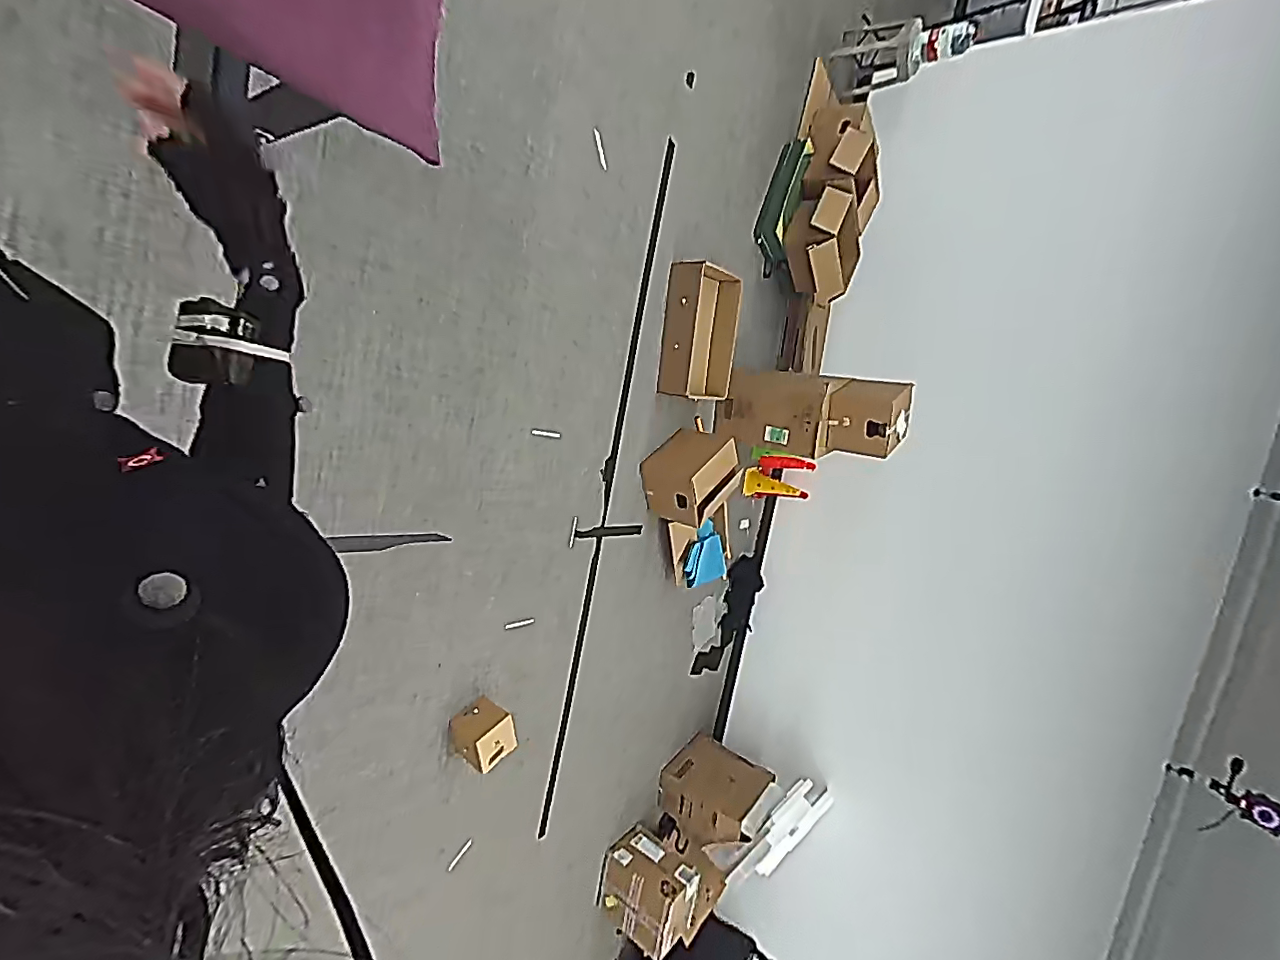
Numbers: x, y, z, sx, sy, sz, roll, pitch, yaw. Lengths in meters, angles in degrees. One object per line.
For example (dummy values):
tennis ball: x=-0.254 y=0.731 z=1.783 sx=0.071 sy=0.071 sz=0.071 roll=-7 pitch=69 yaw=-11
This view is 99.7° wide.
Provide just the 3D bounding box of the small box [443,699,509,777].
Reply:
small box: x=-0.631 y=0.987 z=2.084 sx=0.168 sy=0.176 sz=0.179 roll=-29 pitch=125 yaw=-46
